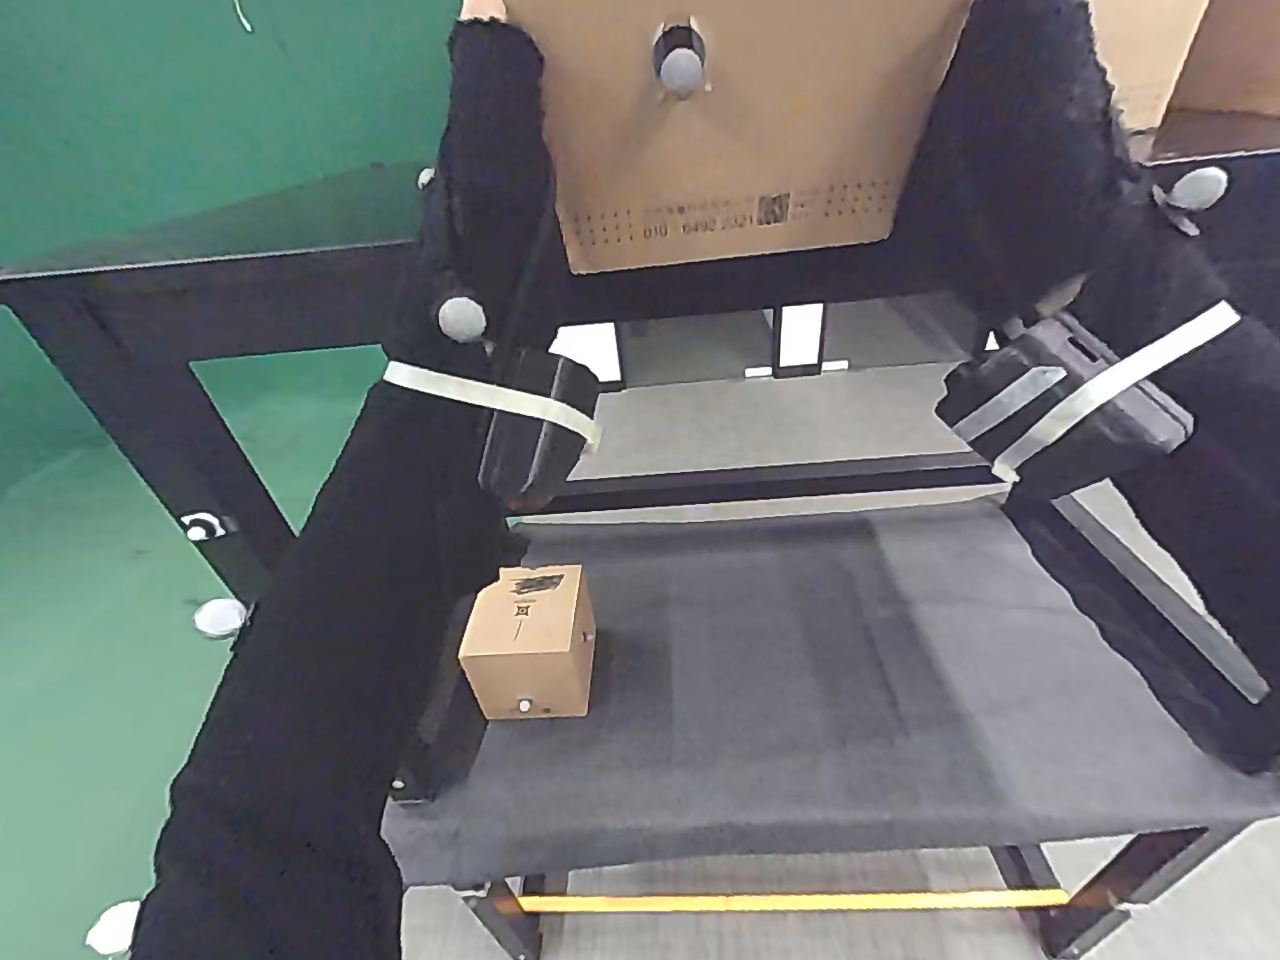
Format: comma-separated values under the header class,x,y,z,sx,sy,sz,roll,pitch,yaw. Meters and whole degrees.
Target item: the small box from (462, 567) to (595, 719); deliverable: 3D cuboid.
class,x,y,z,sx,sy,sz,roll,pitch,yaw
small box,-0.170,0.265,0.888,0.168,0.176,0.179,-4,36,4
